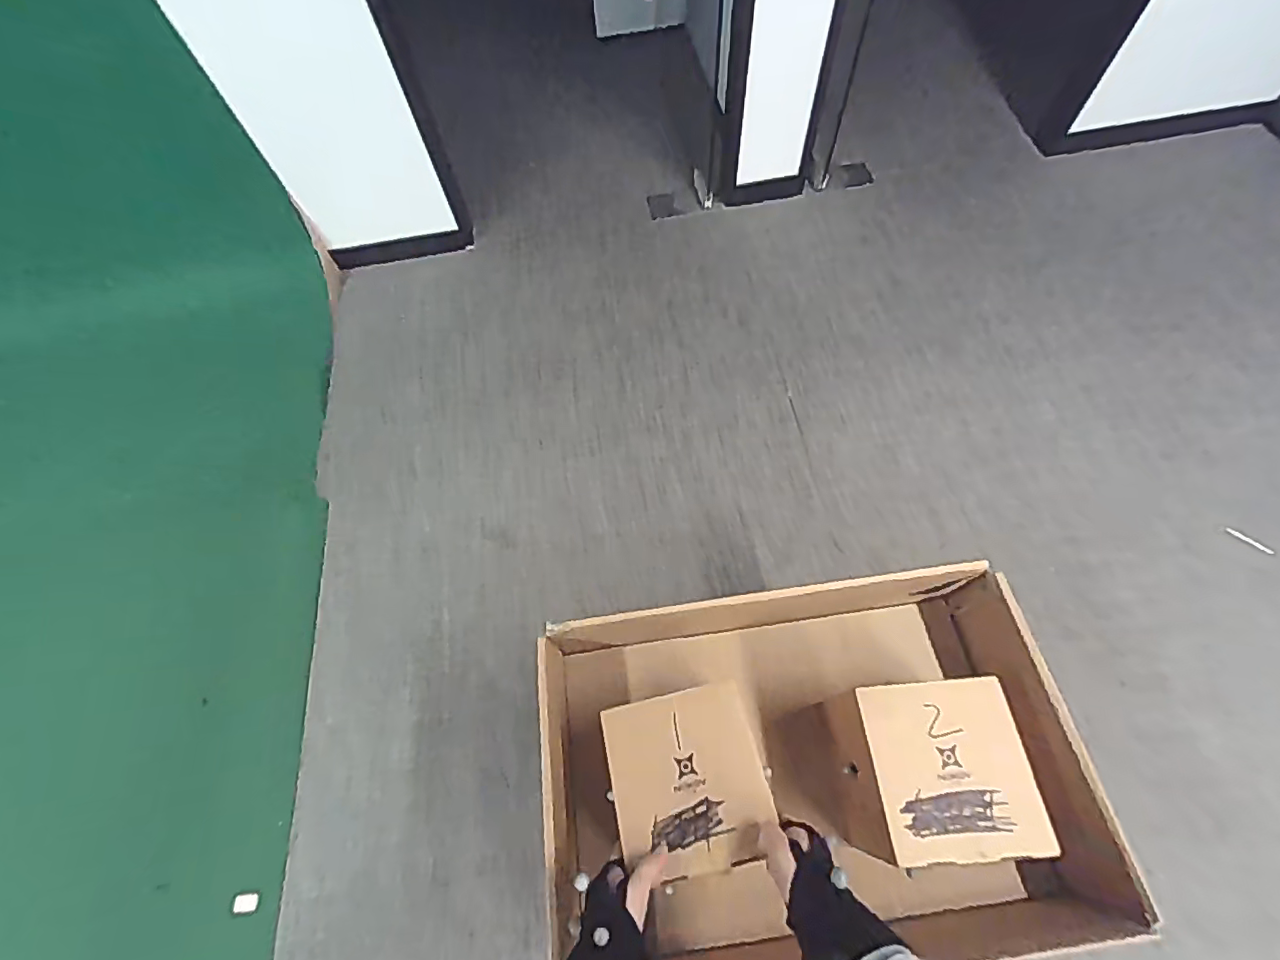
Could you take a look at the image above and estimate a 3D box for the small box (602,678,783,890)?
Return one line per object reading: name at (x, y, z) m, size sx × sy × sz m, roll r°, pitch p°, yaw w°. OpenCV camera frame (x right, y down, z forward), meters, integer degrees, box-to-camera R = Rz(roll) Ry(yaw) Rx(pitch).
small box at (0.061, 0.365, 0.655) m, size 0.168 × 0.176 × 0.179 m, roll -14°, pitch 55°, yaw -2°
